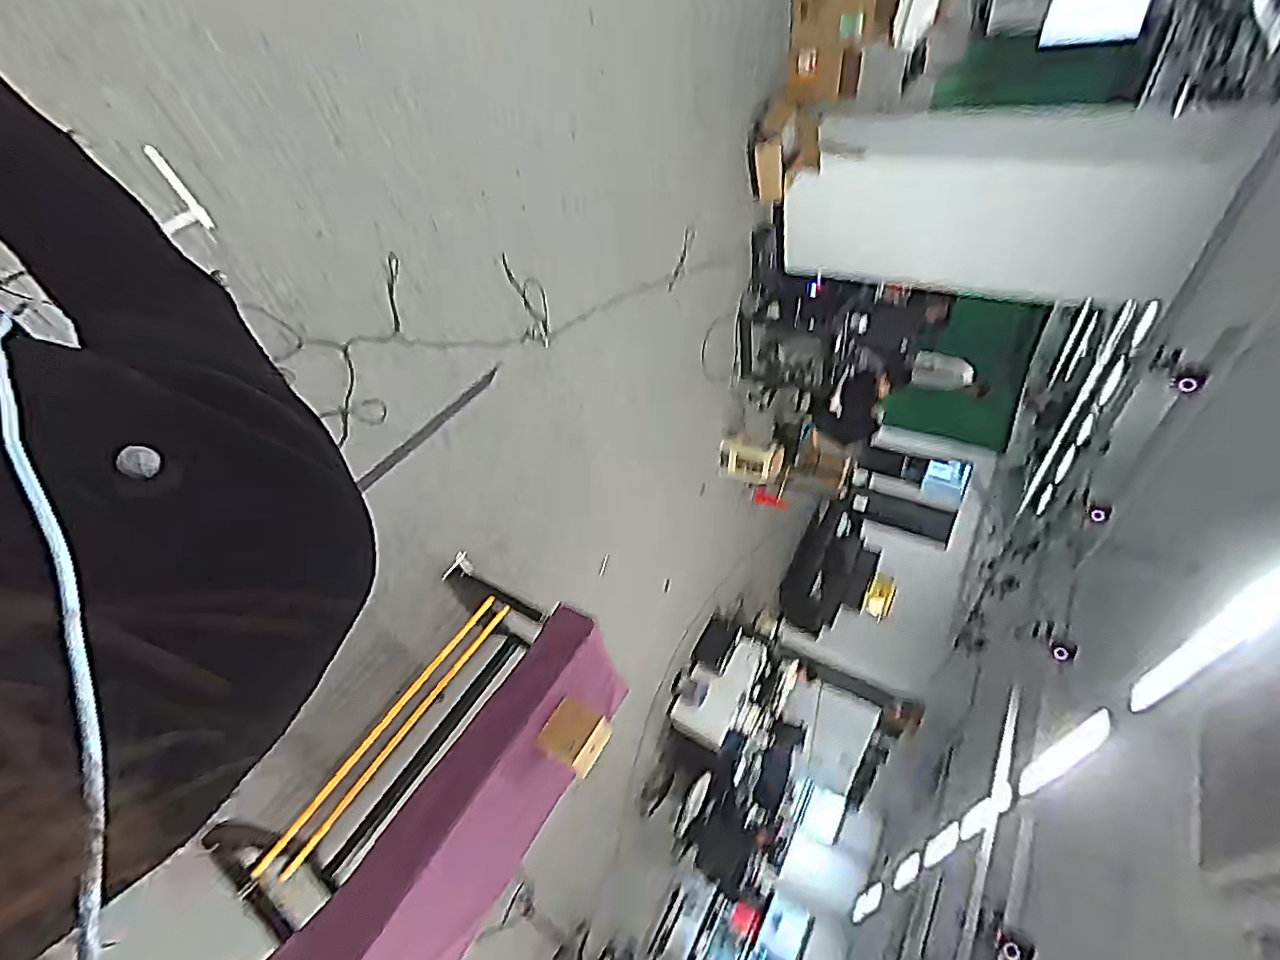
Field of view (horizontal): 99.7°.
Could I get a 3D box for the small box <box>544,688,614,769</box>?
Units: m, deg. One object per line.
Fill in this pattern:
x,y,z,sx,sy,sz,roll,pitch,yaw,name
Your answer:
-0.222,0.884,1.931,0.179,0.176,0.168,-51,147,-32,small box
